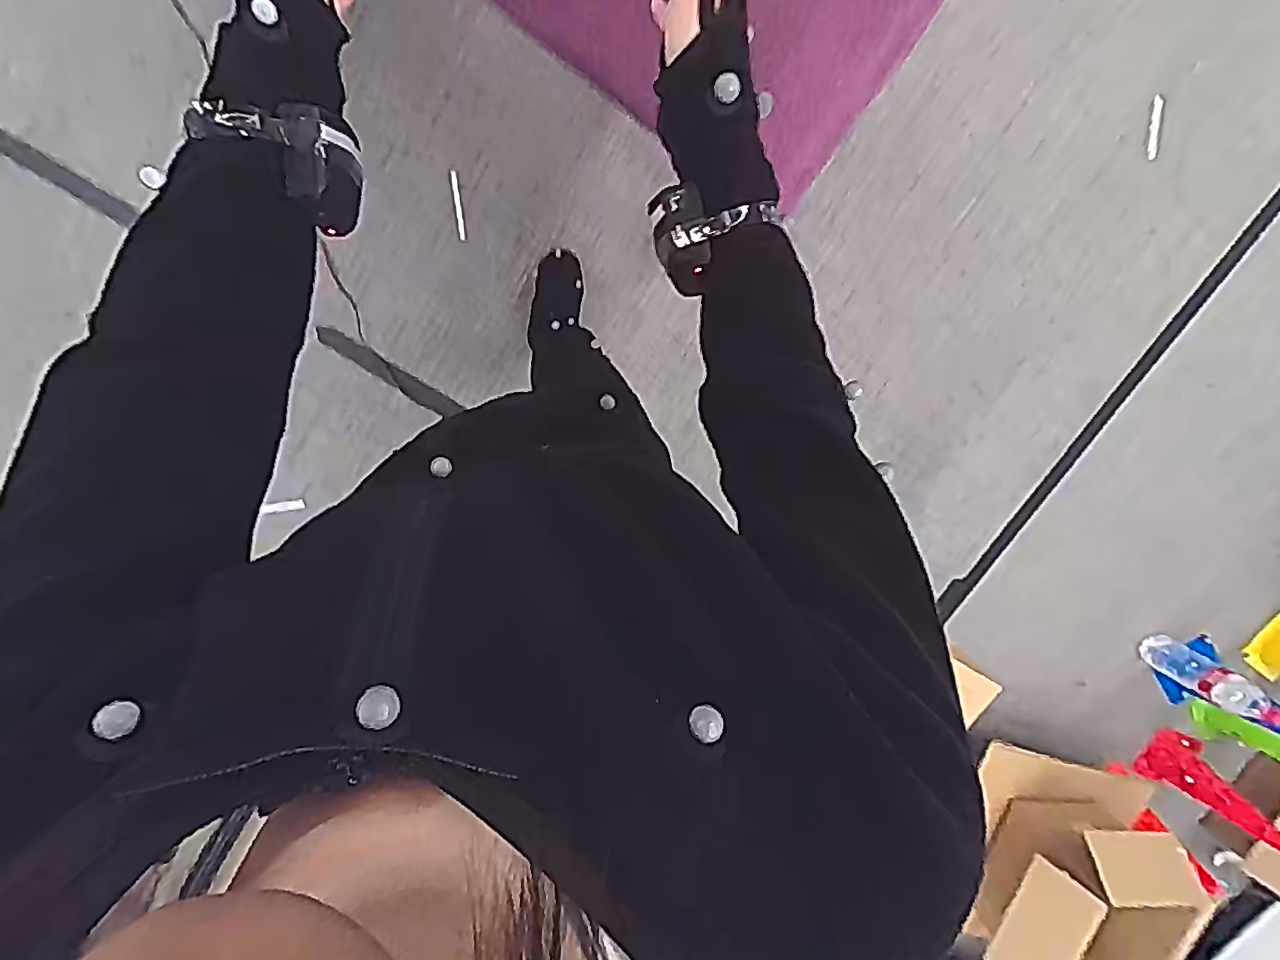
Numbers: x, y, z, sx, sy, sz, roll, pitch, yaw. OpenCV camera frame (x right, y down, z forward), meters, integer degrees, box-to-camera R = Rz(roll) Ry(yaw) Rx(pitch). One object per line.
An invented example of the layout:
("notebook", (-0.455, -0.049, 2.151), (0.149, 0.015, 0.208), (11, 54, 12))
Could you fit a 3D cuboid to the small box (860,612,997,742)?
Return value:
("small box", (0.620, 0.428, 1.193), (0.168, 0.176, 0.179), (29, 101, -15))
